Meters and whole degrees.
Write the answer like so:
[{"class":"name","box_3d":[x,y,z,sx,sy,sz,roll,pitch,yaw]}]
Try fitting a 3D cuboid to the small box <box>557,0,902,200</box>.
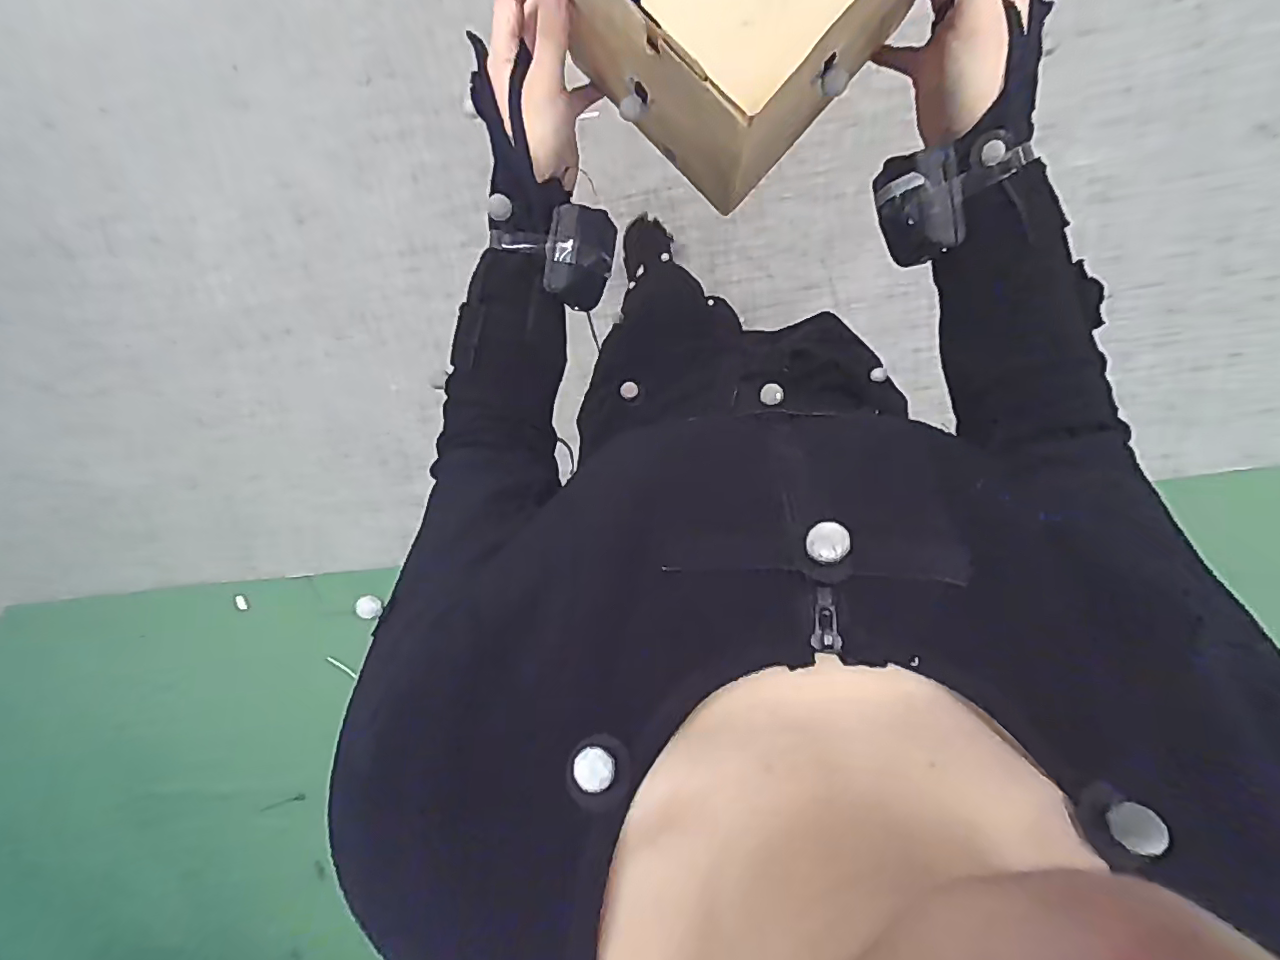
[{"class":"small box","box_3d":[0.059,-0.307,0.323,0.168,0.176,0.179,43,104,-4]}]
